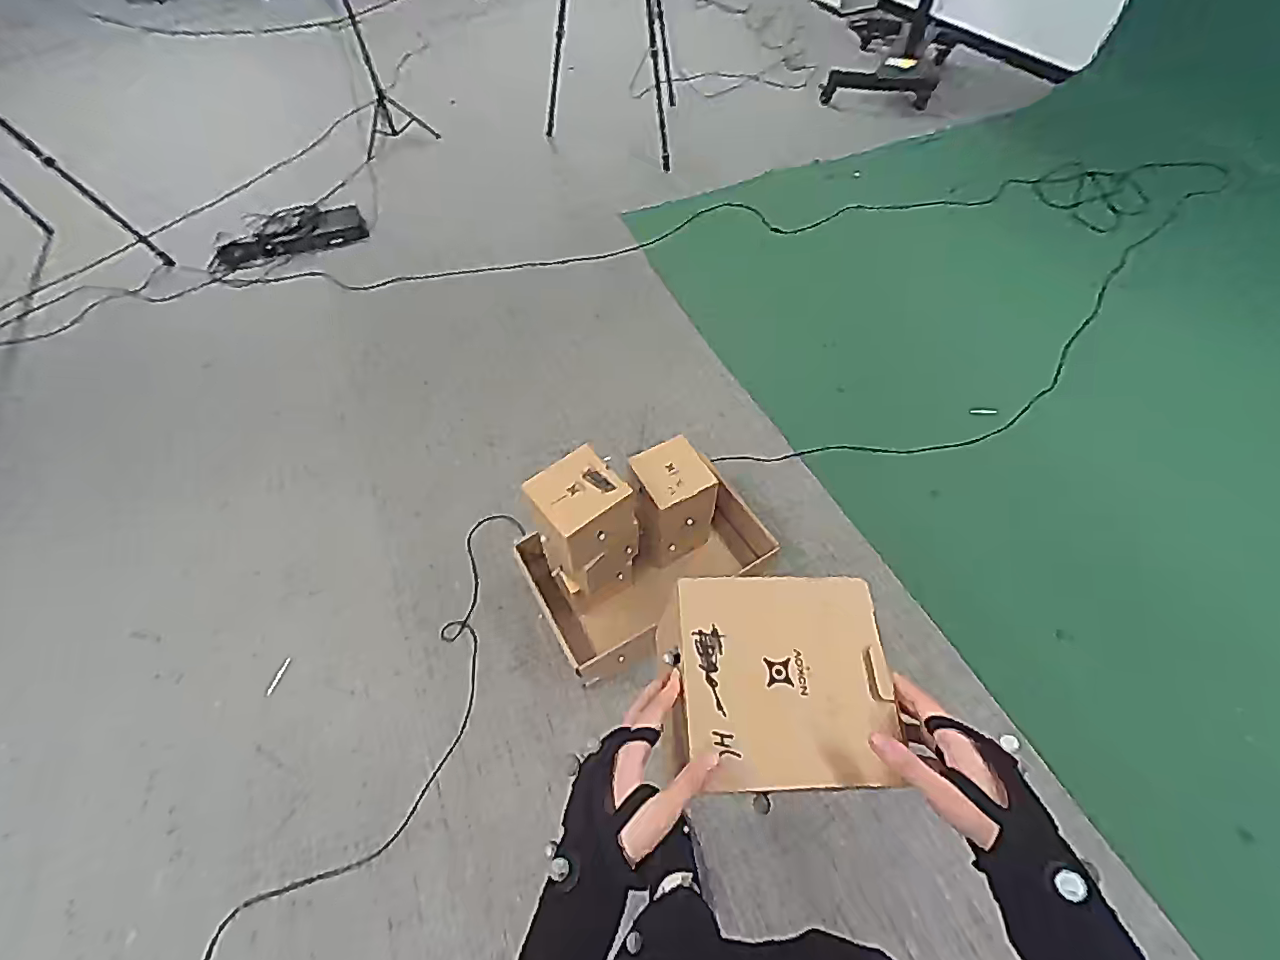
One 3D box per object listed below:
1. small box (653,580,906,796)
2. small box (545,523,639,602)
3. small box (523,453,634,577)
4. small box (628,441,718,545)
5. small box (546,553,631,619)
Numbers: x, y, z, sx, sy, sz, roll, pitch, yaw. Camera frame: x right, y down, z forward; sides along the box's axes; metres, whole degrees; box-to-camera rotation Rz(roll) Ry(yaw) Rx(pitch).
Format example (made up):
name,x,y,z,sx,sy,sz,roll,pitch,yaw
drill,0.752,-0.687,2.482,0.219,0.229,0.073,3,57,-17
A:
name,x,y,z,sx,sy,sz,roll,pitch,yaw
small box,0.109,0.201,0.509,0.179,0.176,0.168,2,60,-4
small box,-0.121,0.165,1.327,0.168,0.176,0.179,37,64,23
small box,-0.131,0.080,1.187,0.179,0.176,0.168,-35,62,-21
small box,0.081,0.038,1.403,0.168,0.176,0.179,-26,59,-14
small box,-0.133,0.249,1.466,0.179,0.176,0.168,-26,60,-17
